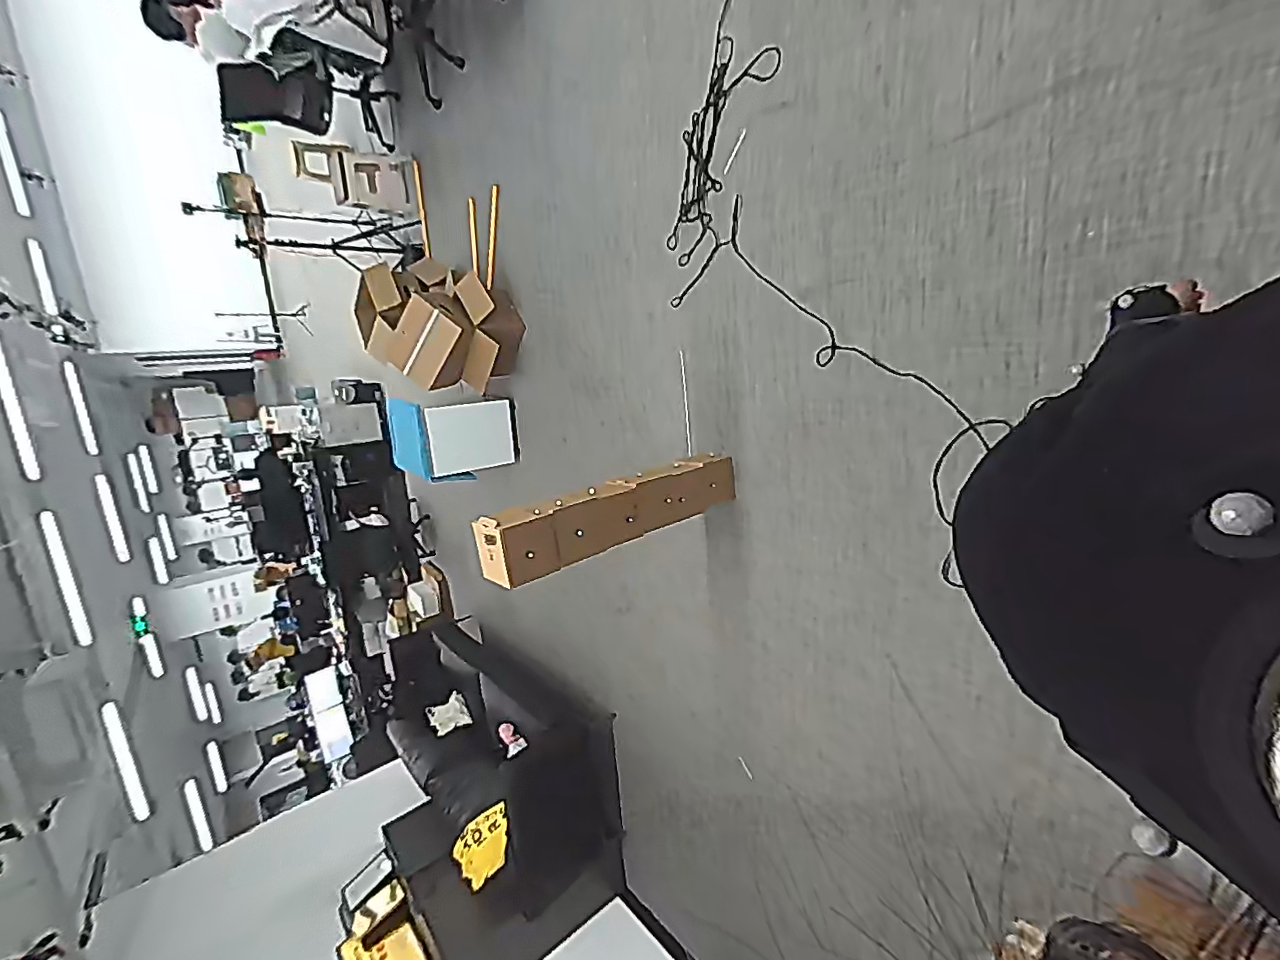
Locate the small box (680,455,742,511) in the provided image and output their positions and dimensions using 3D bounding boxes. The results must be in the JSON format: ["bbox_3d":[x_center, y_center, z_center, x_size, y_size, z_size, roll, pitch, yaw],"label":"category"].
[{"bbox_3d":[0.276,0.009,2.078,0.168,0.176,0.179,7,106,51],"label":"small box"}]

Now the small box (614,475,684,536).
[{"bbox_3d":[0.034,0.079,1.871,0.168,0.176,0.179,4,104,51],"label":"small box"}]

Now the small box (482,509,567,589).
[{"bbox_3d":[-0.331,0.190,1.560,0.168,0.176,0.179,7,109,49],"label":"small box"}]

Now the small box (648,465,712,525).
[{"bbox_3d":[0.150,0.050,1.982,0.168,0.176,0.179,7,107,50],"label":"small box"}]

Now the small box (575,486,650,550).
[{"bbox_3d":[-0.089,0.118,1.770,0.179,0.176,0.168,4,105,50],"label":"small box"}]
